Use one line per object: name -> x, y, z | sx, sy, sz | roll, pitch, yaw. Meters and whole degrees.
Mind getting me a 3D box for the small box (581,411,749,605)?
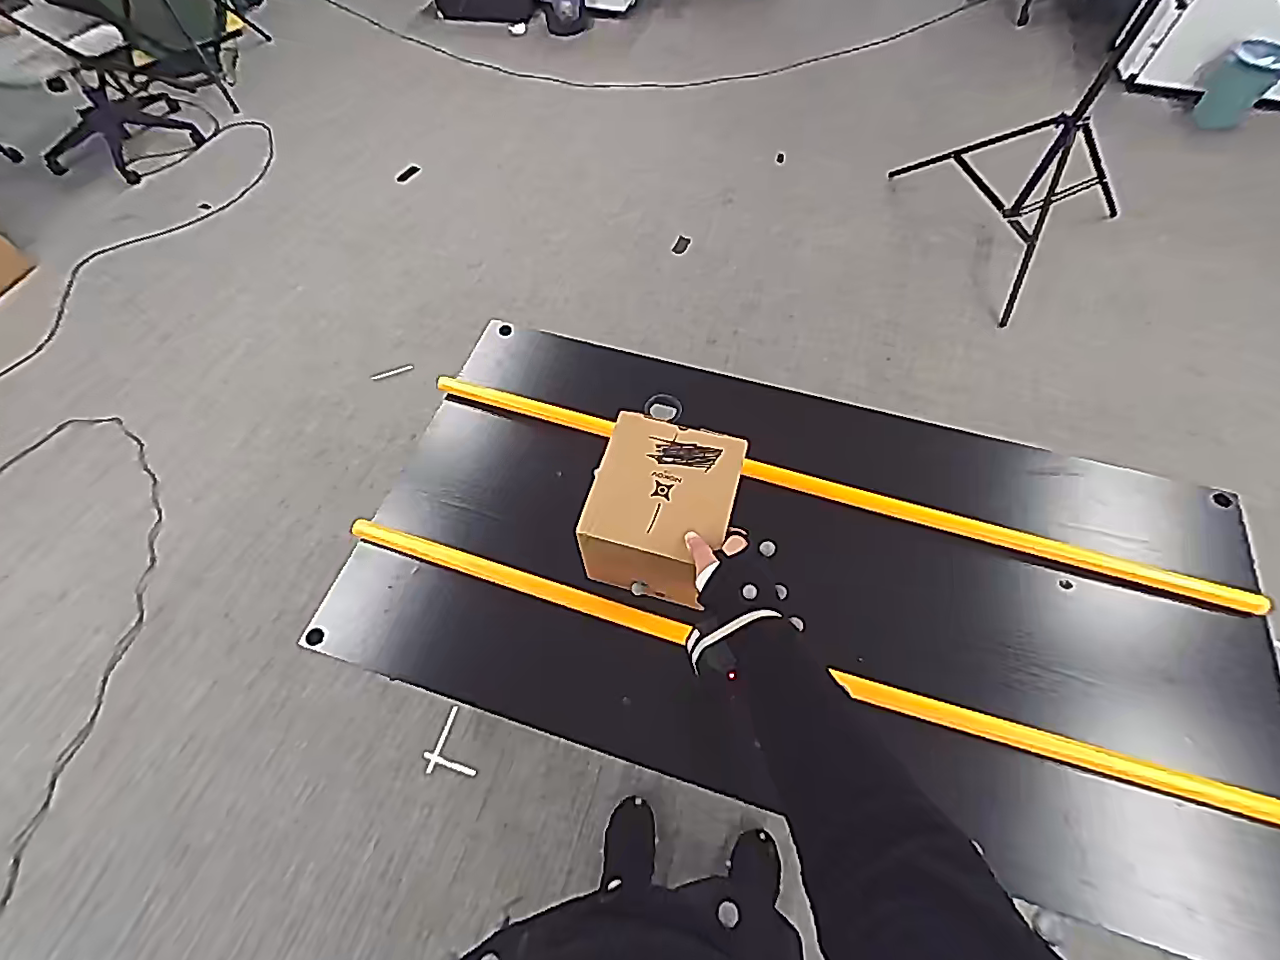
small box -> 0.033, 0.042, 0.708 | 0.168, 0.176, 0.179 | 14, 63, 9
